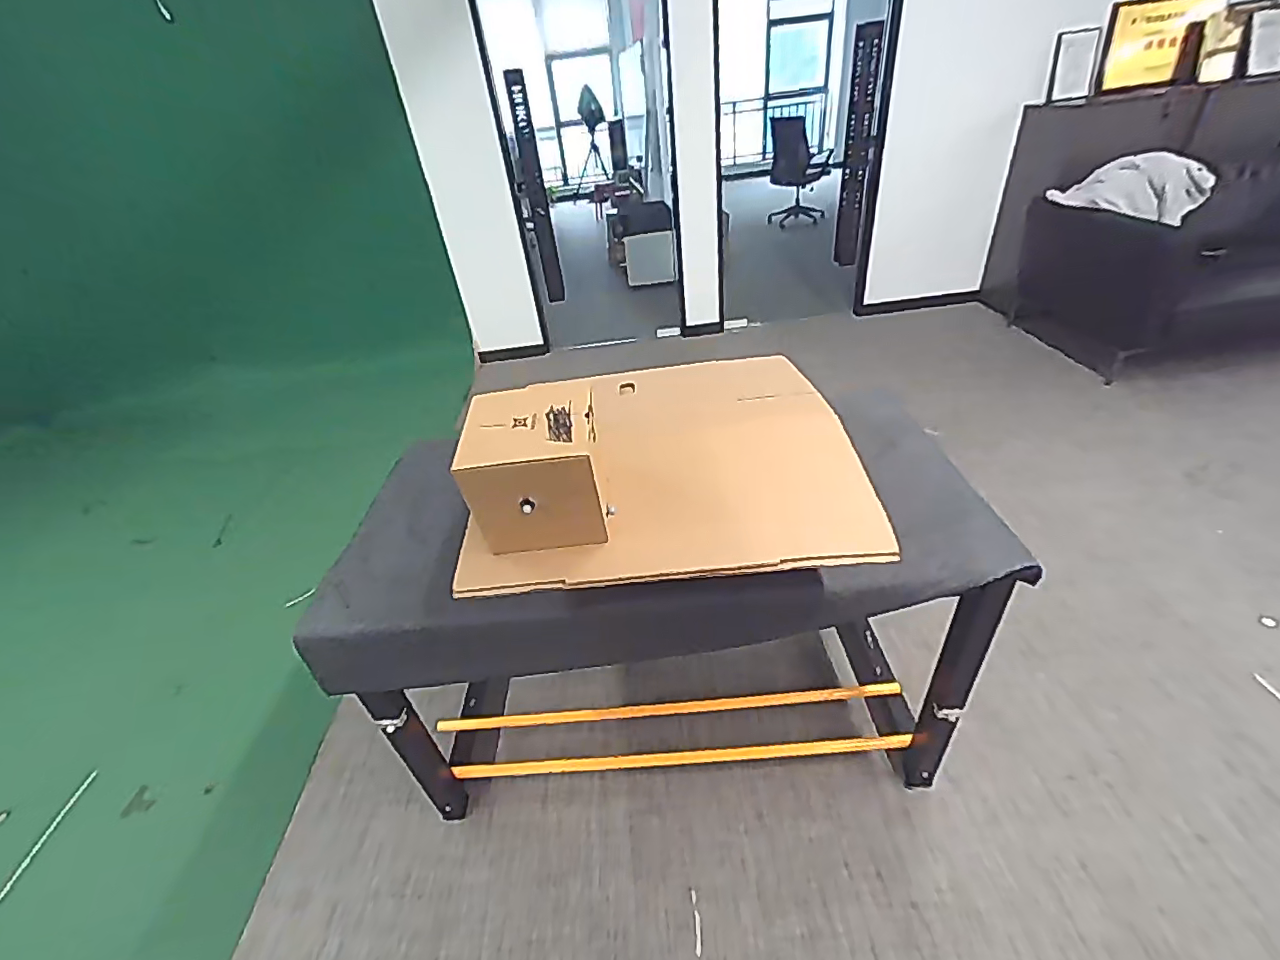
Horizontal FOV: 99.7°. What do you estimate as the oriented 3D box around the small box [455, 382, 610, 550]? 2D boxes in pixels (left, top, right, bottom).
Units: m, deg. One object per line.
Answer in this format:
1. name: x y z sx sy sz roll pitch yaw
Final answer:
1. small box: -0.139 -0.018 0.779 0.179 0.176 0.168 -7 43 3
